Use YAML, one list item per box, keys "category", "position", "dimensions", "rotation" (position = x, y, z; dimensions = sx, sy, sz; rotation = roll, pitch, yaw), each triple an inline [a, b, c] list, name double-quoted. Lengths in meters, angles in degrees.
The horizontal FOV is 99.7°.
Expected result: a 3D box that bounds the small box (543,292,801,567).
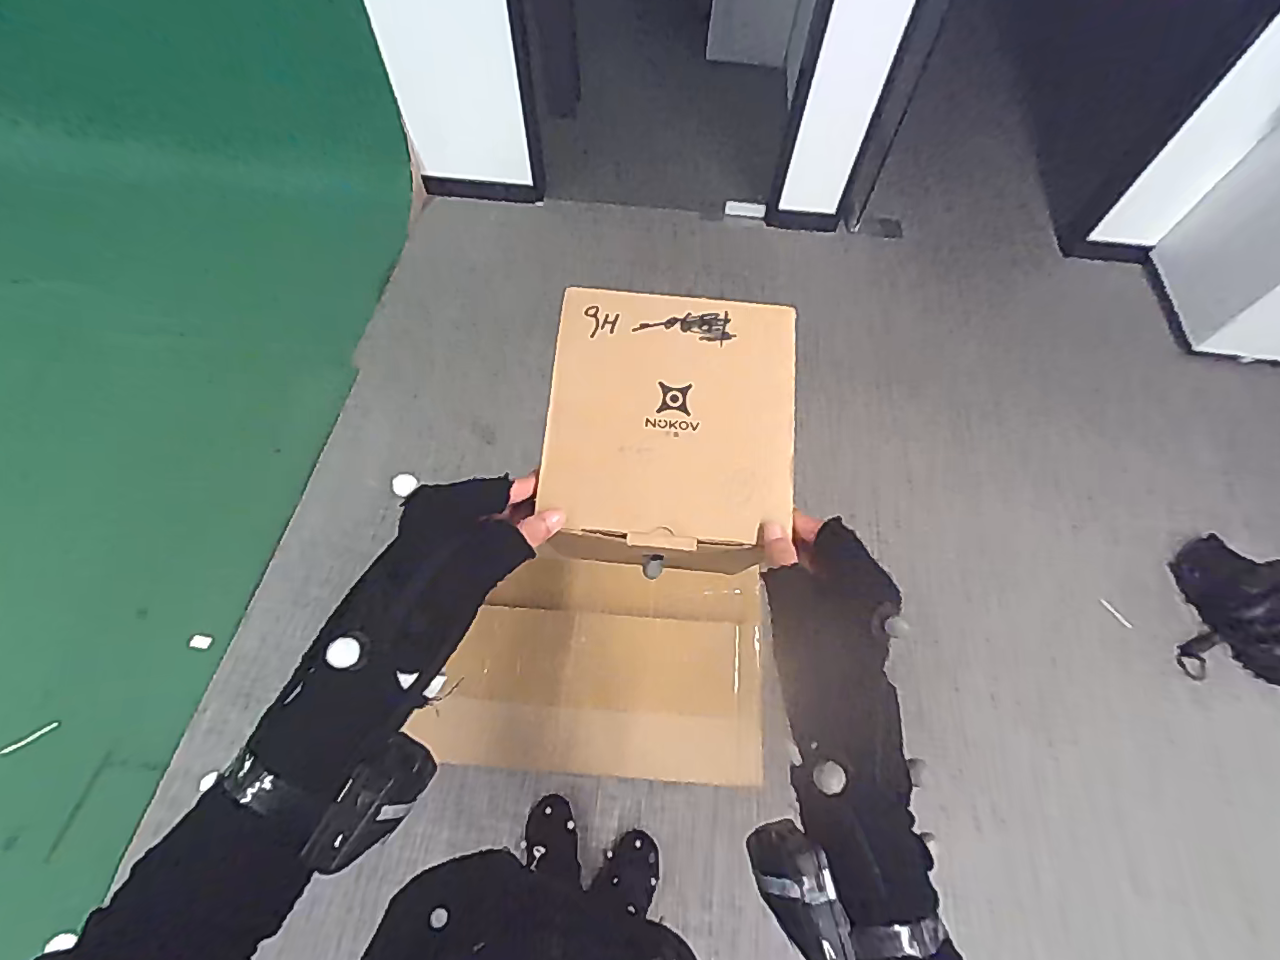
- category: "small box"
  position: [0.024, -0.025, 0.442]
  dimensions: [0.168, 0.176, 0.179]
  rotation: [5, 76, -1]
